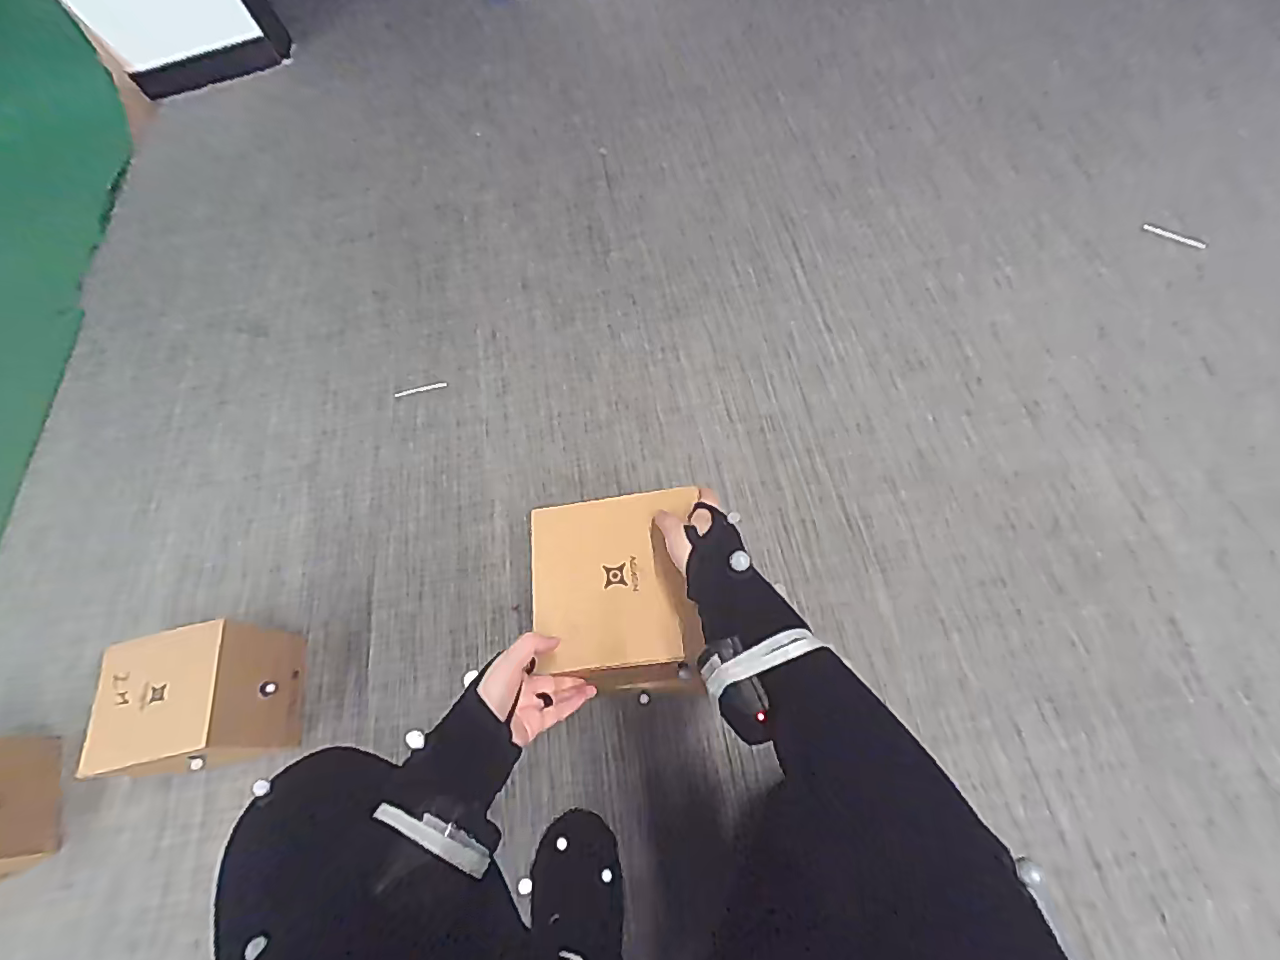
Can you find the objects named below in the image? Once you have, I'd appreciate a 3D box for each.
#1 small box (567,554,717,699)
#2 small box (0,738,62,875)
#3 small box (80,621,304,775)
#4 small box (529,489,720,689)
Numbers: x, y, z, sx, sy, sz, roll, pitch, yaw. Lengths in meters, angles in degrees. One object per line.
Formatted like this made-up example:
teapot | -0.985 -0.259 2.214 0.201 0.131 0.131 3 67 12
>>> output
small box | 0.012 0.203 0.732 0.179 0.176 0.168 -3 65 8
small box | -0.984 0.486 0.765 0.168 0.176 0.179 -28 64 -4
small box | -0.625 0.316 0.783 0.179 0.176 0.168 -14 63 3
small box | -0.011 0.128 0.589 0.179 0.176 0.168 -8 64 4
